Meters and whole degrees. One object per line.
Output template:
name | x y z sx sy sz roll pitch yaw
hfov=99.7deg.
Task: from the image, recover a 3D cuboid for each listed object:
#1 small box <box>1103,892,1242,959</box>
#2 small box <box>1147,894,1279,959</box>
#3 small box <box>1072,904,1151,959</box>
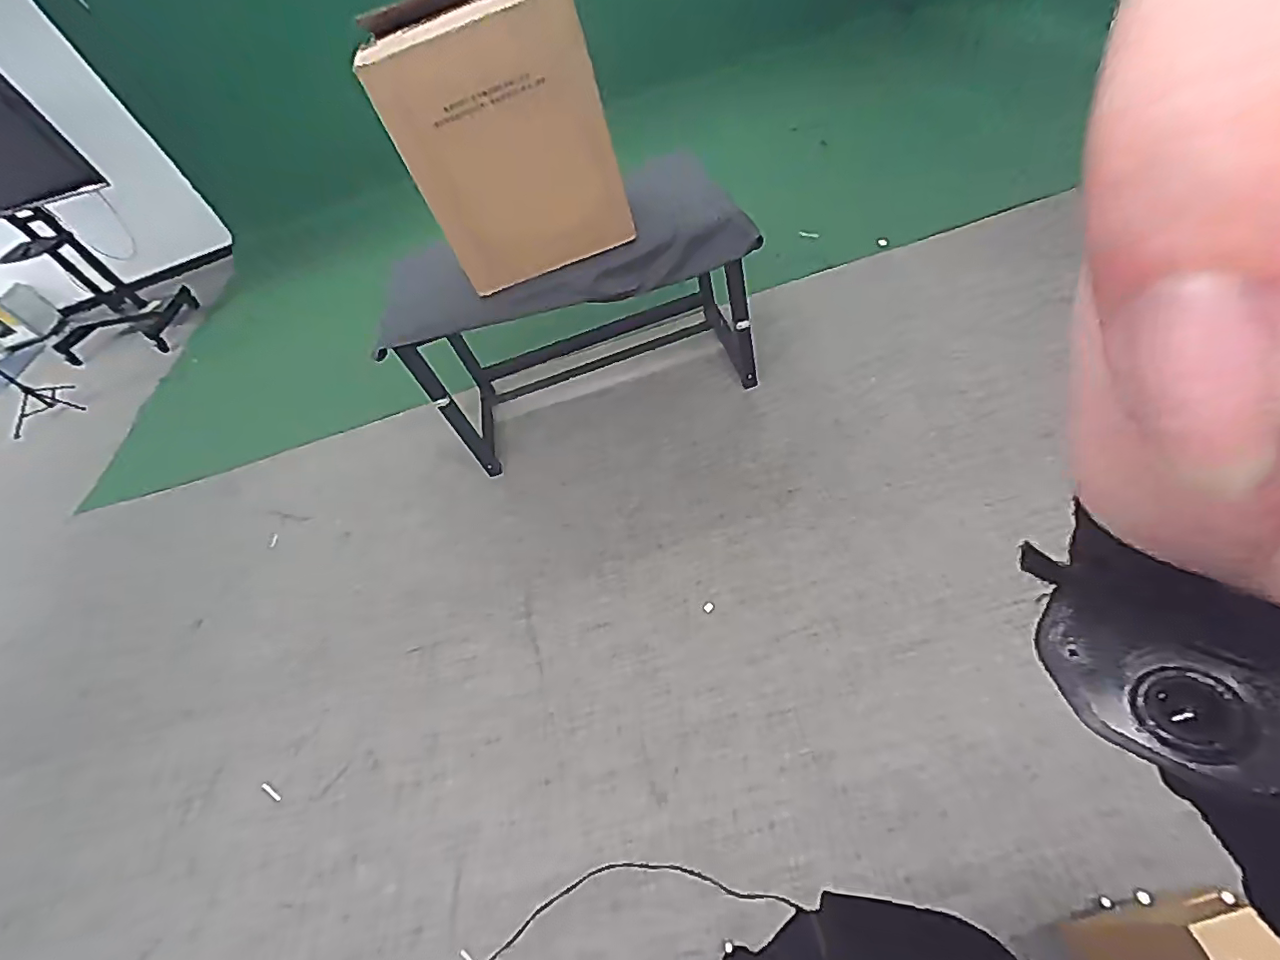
small box | 0.886 0.768 0.836 0.168 0.176 0.179 -21 48 0
small box | 0.847 0.667 0.714 0.179 0.176 0.168 -19 49 1
small box | 0.927 0.875 0.954 0.168 0.176 0.179 -20 47 0
